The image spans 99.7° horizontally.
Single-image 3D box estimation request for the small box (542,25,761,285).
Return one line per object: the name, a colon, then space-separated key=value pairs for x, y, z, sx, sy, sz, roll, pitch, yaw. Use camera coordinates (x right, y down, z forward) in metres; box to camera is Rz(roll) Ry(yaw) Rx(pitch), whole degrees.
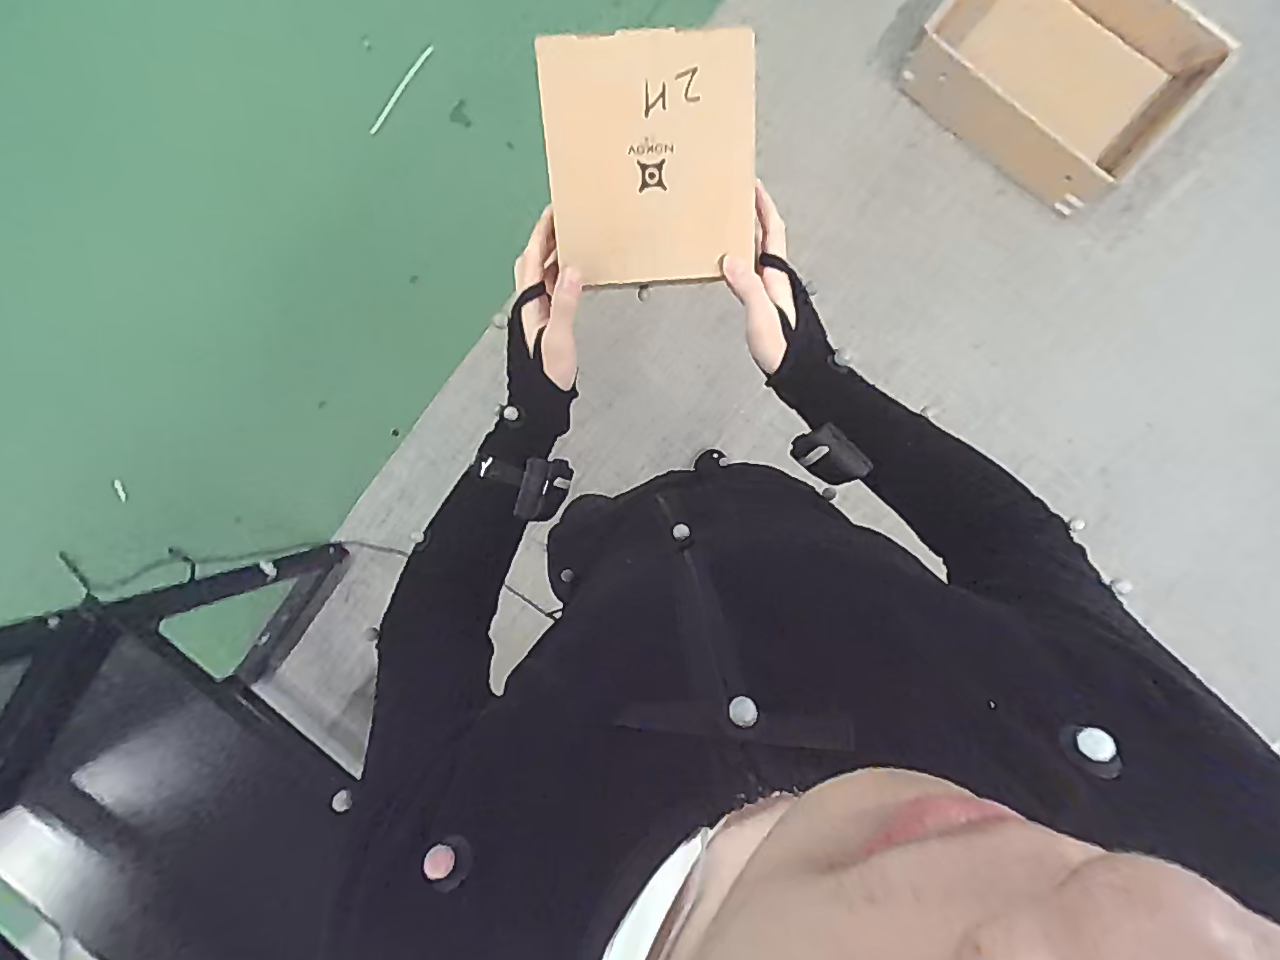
small box: x=0.007 y=-0.276 z=0.500 sx=0.168 sy=0.176 sz=0.179 roll=-4 pitch=107 yaw=-3
